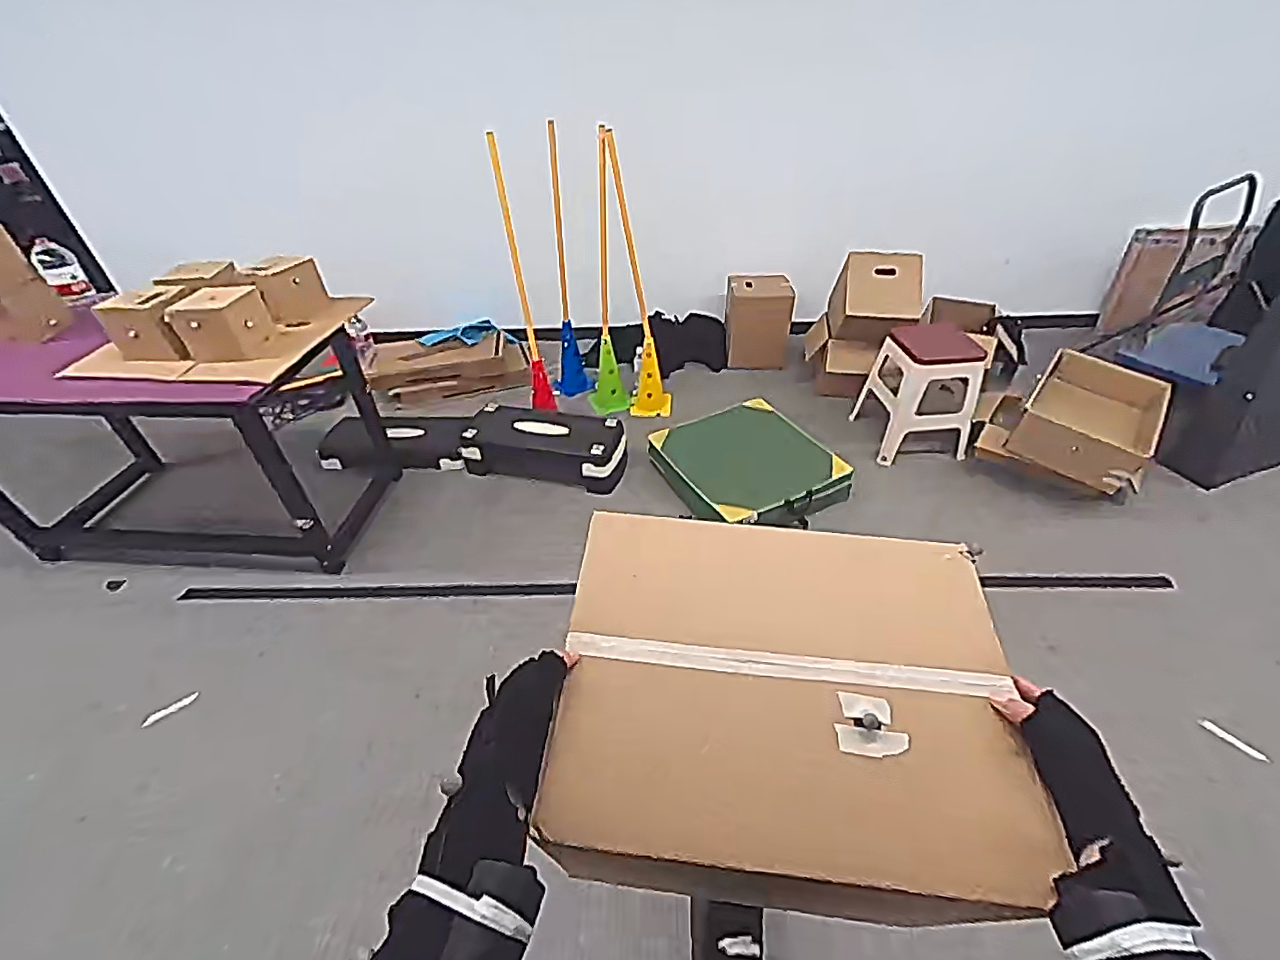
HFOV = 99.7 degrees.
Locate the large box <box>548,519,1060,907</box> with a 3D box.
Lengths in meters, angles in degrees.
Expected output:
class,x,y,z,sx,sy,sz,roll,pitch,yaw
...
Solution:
class,x,y,z,sx,sy,sz,roll,pitch,yaw
large box,0.135,0.271,0.627,0.408,0.320,0.320,5,51,4
